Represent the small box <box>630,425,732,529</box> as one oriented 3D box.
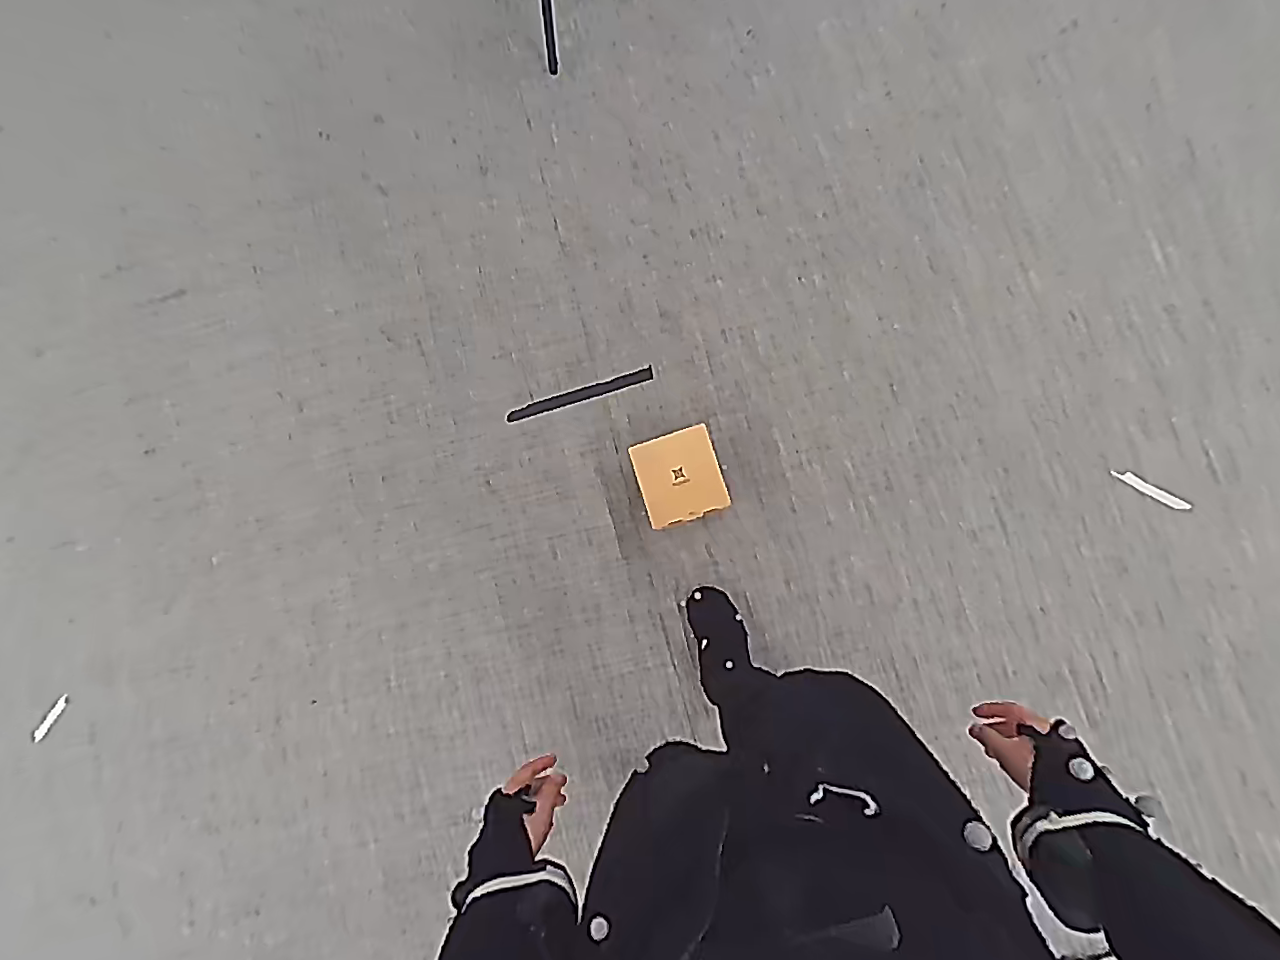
[{"bbox_3d":[0.085,0.000,1.158,0.168,0.176,0.179,-18,85,3],"label":"small box"}]
